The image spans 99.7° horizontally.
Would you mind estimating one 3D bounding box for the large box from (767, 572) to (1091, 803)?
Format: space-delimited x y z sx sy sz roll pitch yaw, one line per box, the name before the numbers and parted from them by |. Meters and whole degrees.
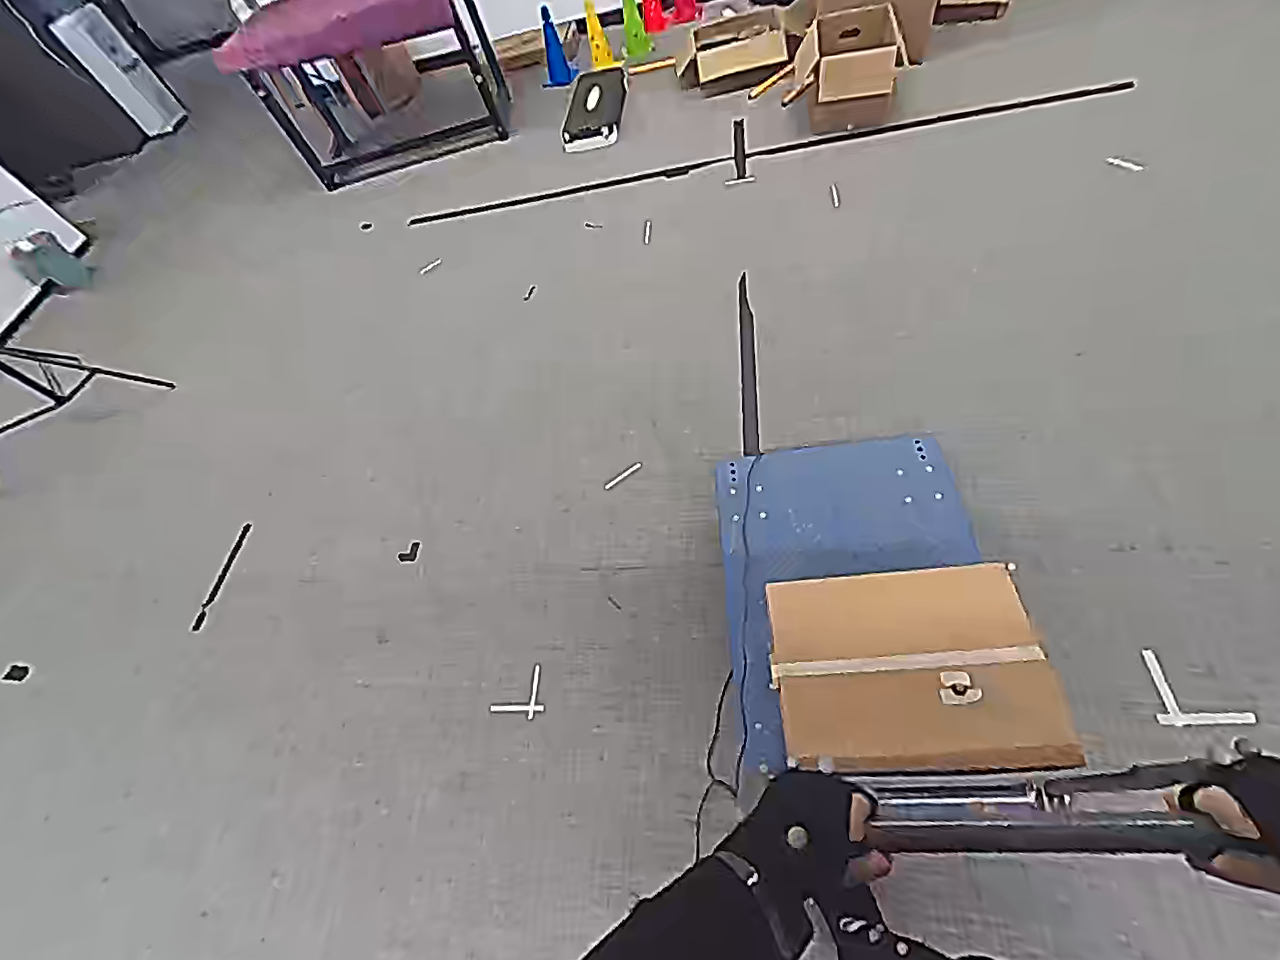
large box | 0.455 0.388 0.974 0.408 0.320 0.320 -7 56 10
